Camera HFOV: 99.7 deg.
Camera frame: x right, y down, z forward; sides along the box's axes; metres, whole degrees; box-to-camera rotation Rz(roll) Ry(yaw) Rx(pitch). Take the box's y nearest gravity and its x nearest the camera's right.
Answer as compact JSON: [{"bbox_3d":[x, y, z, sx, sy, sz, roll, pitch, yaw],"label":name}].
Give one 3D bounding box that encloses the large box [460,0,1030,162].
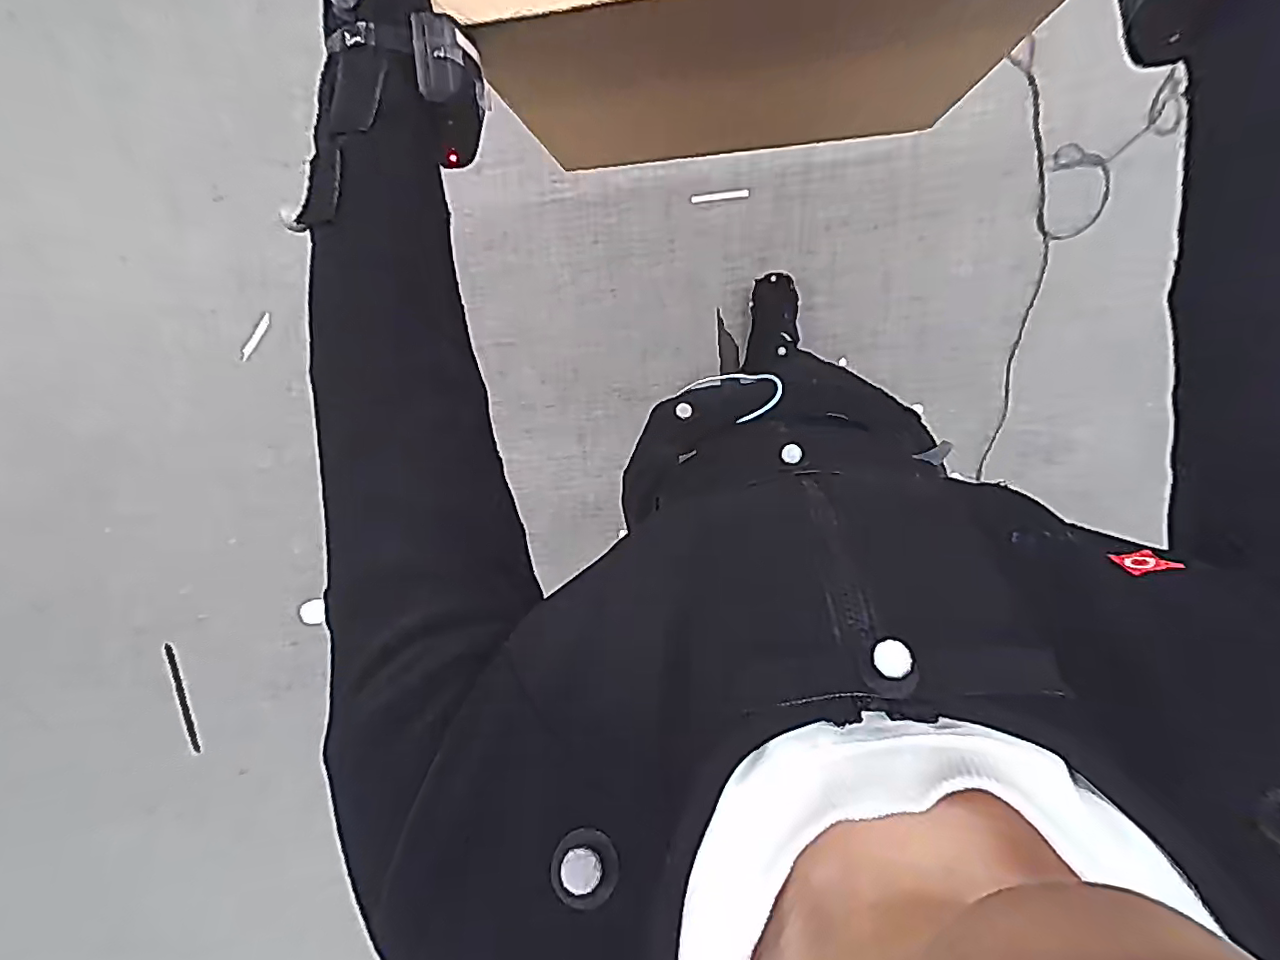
[{"bbox_3d":[0.081,-0.490,0.424,0.408,0.320,0.320,-3,105,7],"label":"large box"}]
